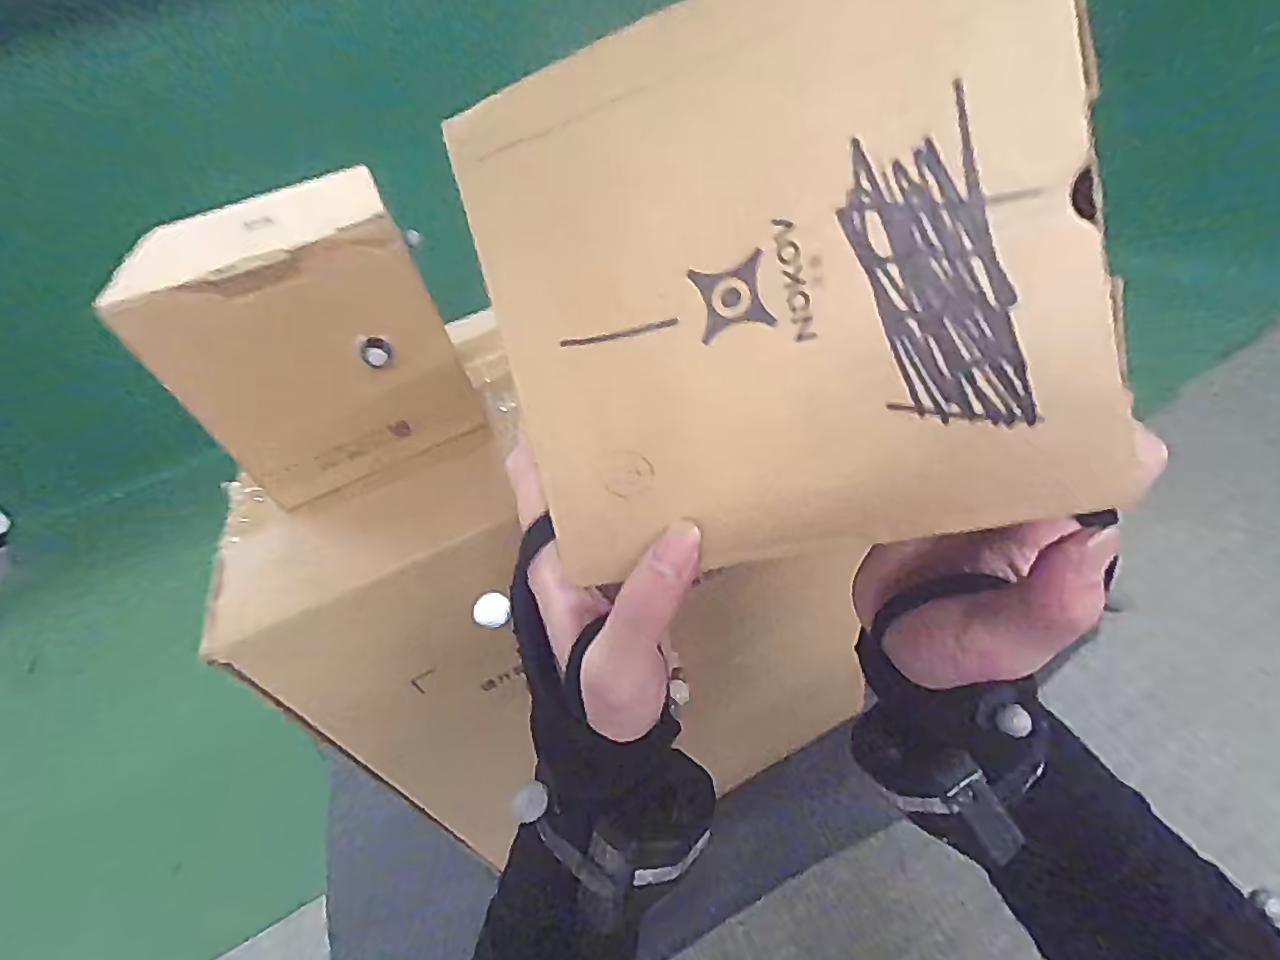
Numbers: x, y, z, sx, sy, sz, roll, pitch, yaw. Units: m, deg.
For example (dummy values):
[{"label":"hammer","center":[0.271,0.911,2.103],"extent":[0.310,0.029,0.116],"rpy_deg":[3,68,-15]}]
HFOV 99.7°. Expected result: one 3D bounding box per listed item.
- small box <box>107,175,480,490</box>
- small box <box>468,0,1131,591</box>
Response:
[{"label":"small box","center":[-0.244,-0.113,0.428],"extent":[0.168,0.176,0.179],"rpy_deg":[-25,43,-12]},{"label":"small box","center":[0.061,-0.067,0.243],"extent":[0.179,0.168,0.176],"rpy_deg":[-11,7,18]}]
